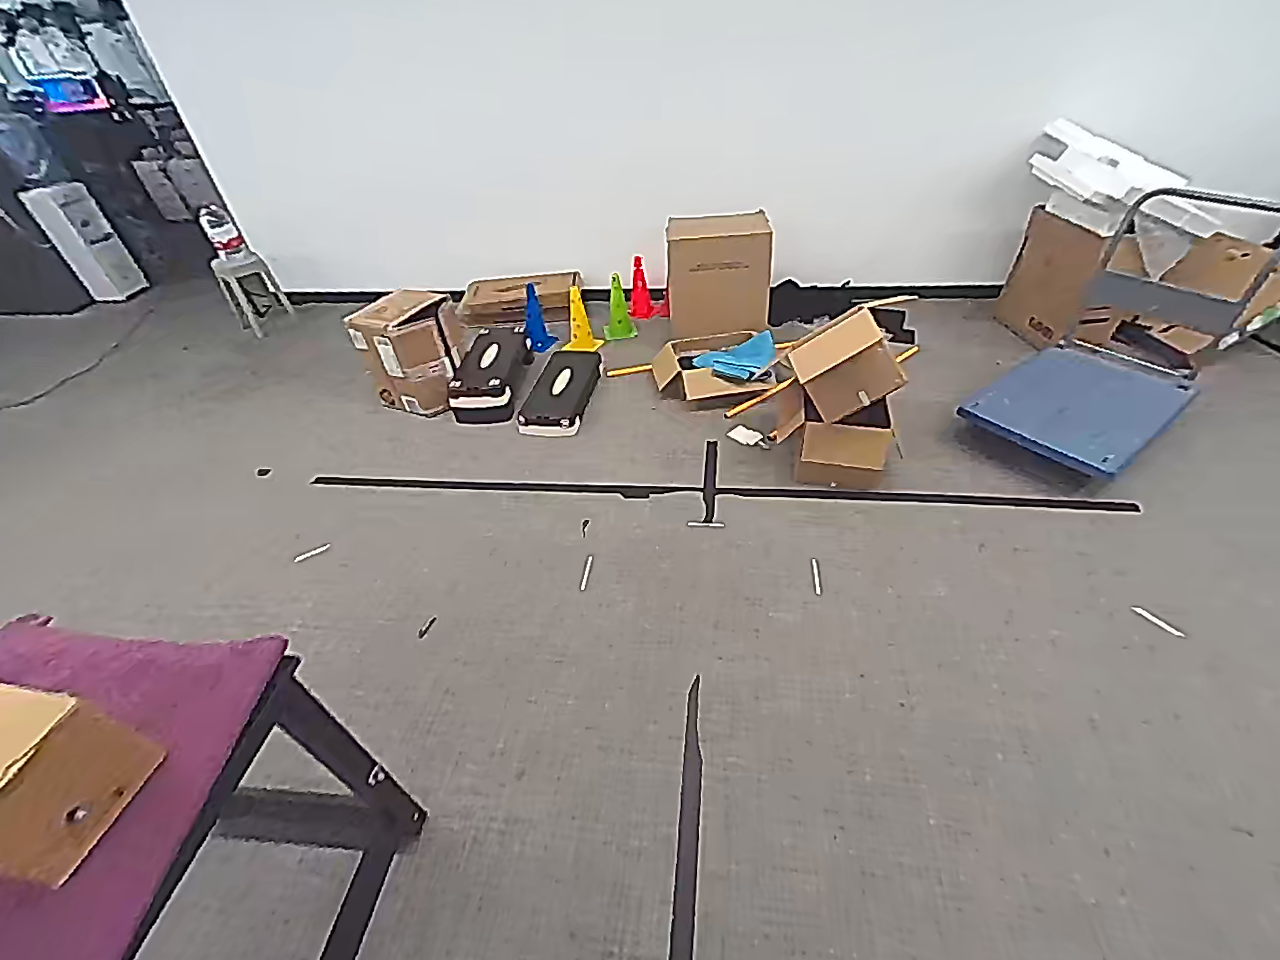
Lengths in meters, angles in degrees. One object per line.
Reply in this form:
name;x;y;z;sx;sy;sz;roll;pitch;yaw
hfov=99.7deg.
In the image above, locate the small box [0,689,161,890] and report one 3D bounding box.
small box;-0.789;0.390;0.686;0.179;0.176;0.168;3;42;11
